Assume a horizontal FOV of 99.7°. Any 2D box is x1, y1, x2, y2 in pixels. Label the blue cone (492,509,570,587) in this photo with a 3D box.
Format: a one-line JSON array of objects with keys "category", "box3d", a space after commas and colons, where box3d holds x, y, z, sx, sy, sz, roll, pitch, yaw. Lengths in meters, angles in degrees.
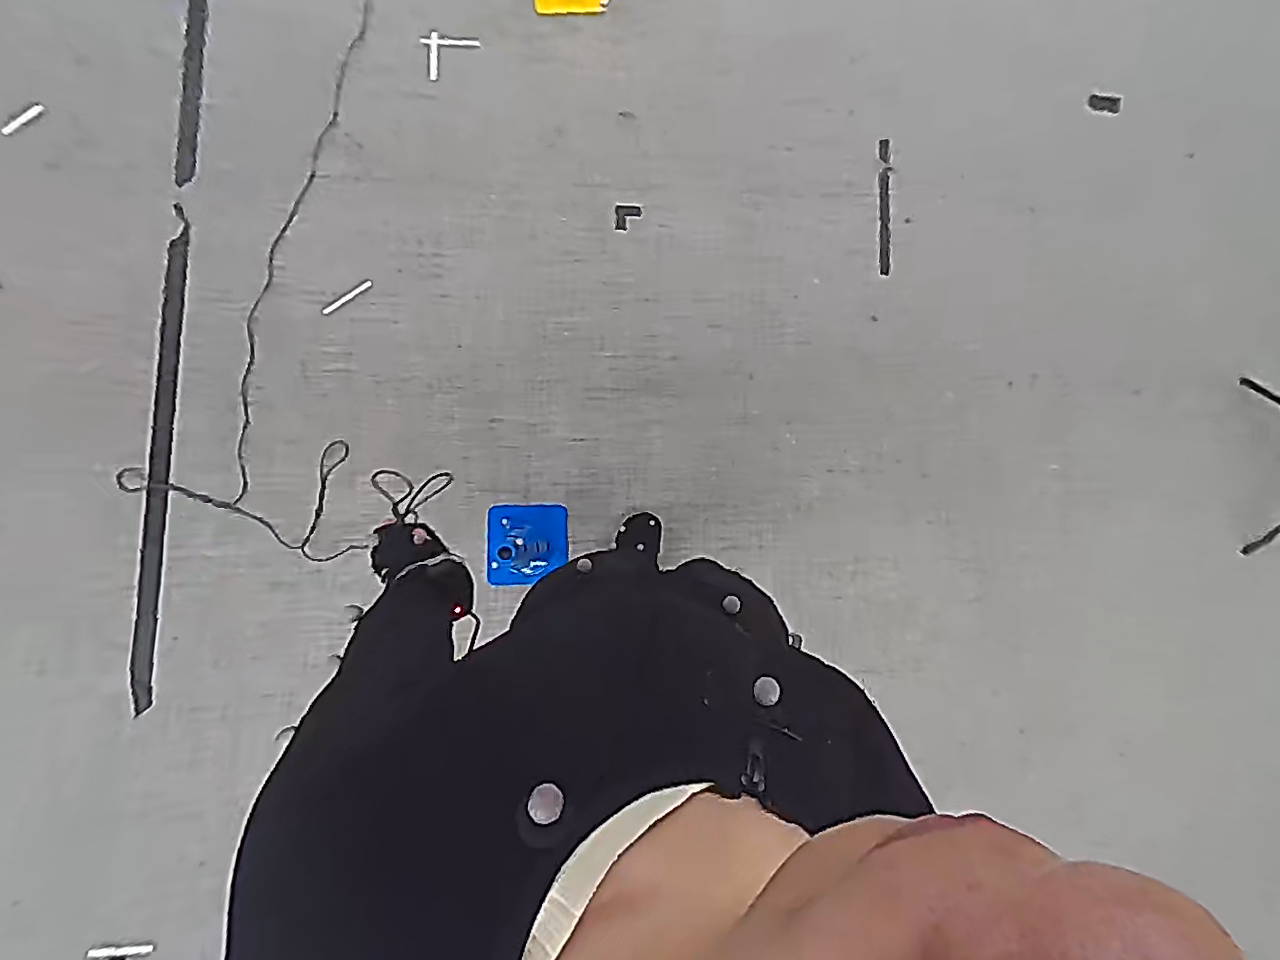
[{"category": "blue cone", "box3d": [-0.254, 0.156, 1.178, 0.192, 0.380, 0.193, 1, 85, -6]}]
